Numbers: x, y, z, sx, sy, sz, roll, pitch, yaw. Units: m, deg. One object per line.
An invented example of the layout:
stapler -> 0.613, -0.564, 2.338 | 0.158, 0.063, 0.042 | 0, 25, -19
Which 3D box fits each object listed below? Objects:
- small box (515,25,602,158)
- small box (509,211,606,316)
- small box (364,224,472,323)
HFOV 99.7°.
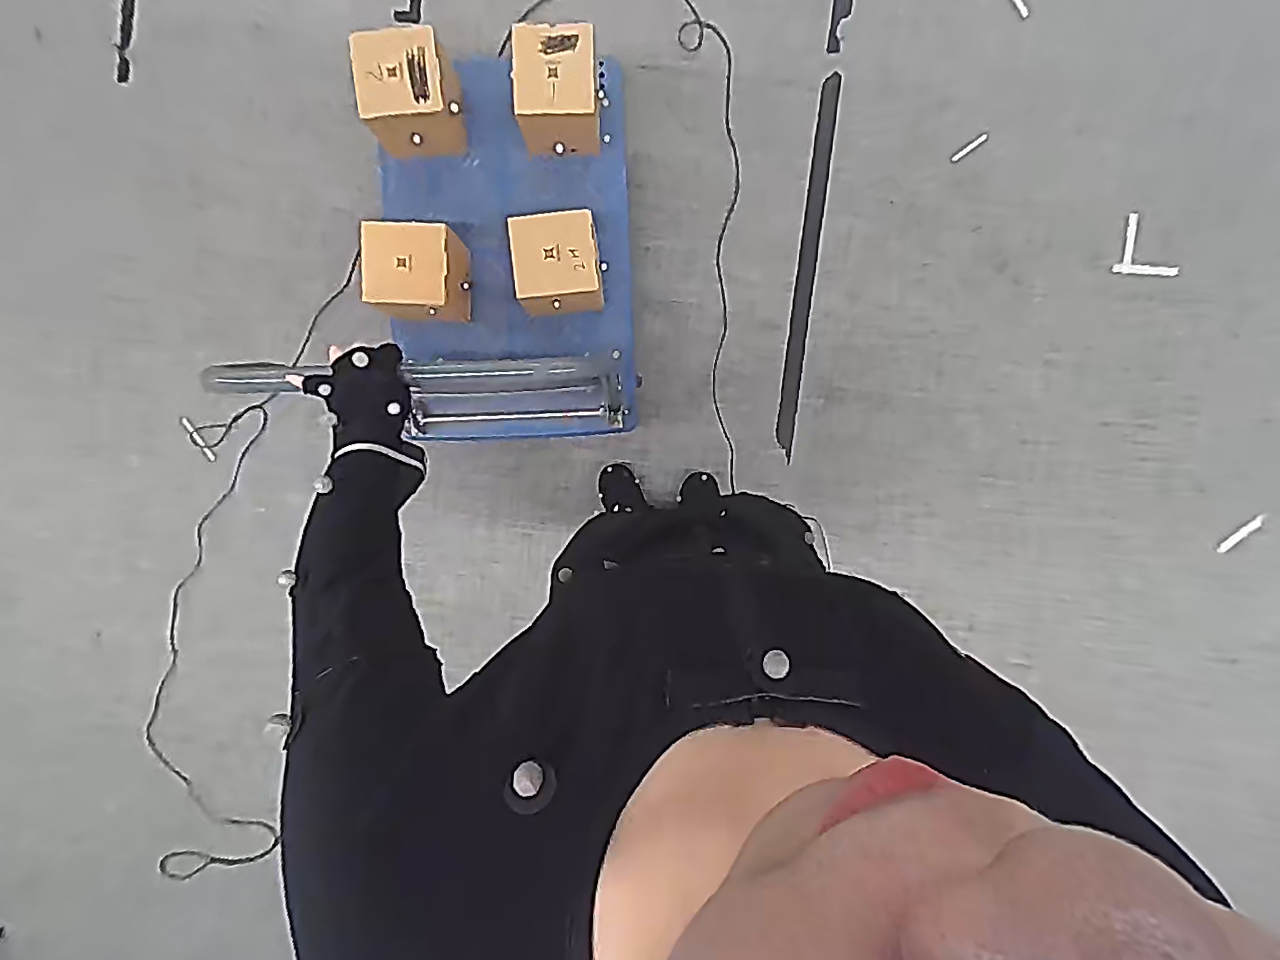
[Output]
small box -> -0.172, -0.831, 1.167 | 0.168, 0.176, 0.179 | -1, 95, 0
small box -> -0.175, -0.468, 1.194 | 0.179, 0.176, 0.168 | -6, 94, 1
small box -> -0.484, -0.449, 1.196 | 0.179, 0.176, 0.168 | 0, 94, -2
